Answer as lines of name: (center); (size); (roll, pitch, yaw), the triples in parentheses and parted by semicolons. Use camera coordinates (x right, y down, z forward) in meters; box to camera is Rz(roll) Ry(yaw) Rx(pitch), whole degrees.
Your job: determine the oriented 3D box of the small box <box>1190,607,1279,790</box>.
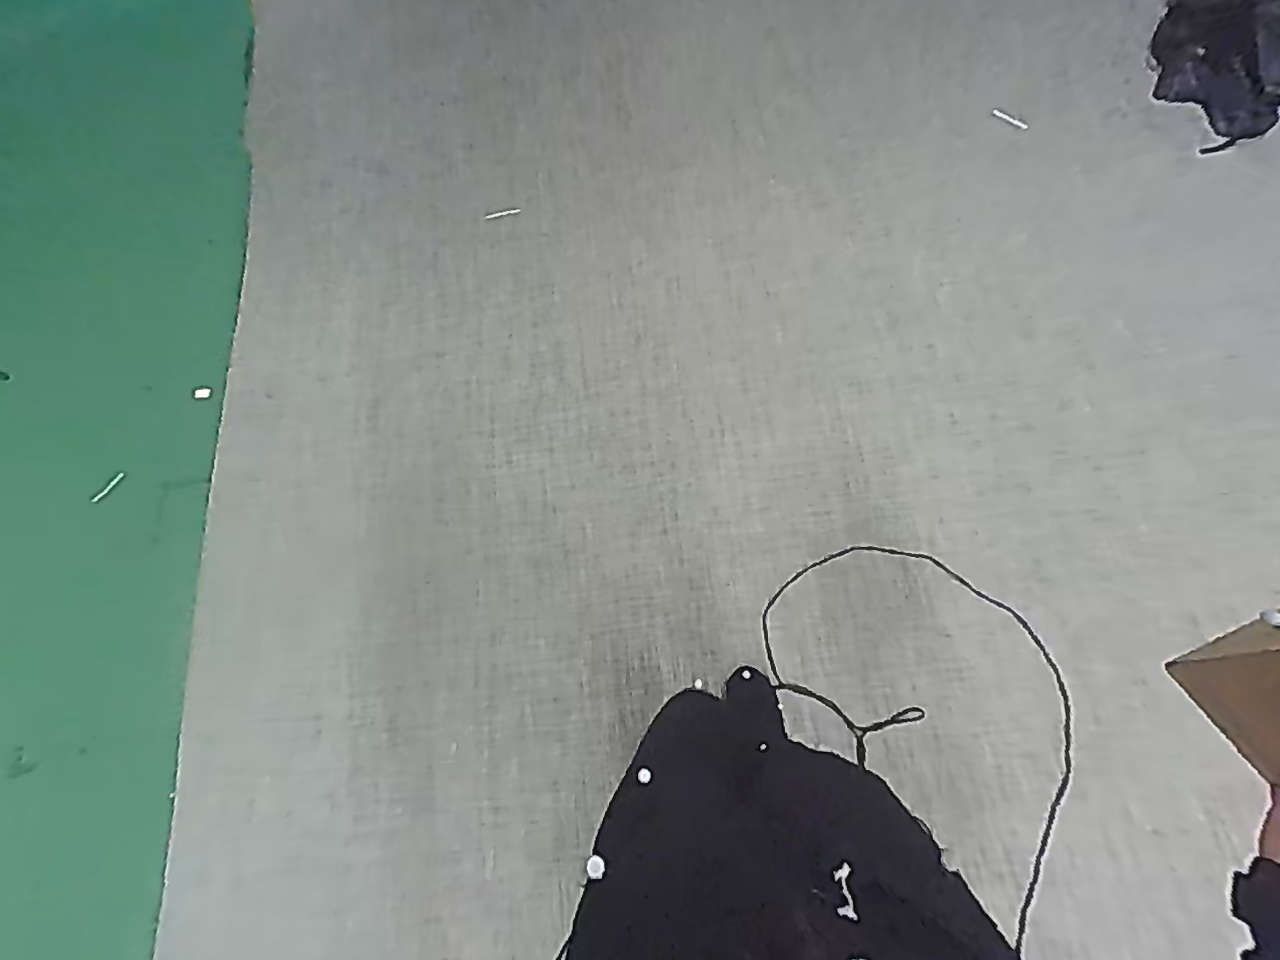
small box: (0.550, 0.159, 0.370); (0.179, 0.176, 0.168); (-29, 63, 3)
